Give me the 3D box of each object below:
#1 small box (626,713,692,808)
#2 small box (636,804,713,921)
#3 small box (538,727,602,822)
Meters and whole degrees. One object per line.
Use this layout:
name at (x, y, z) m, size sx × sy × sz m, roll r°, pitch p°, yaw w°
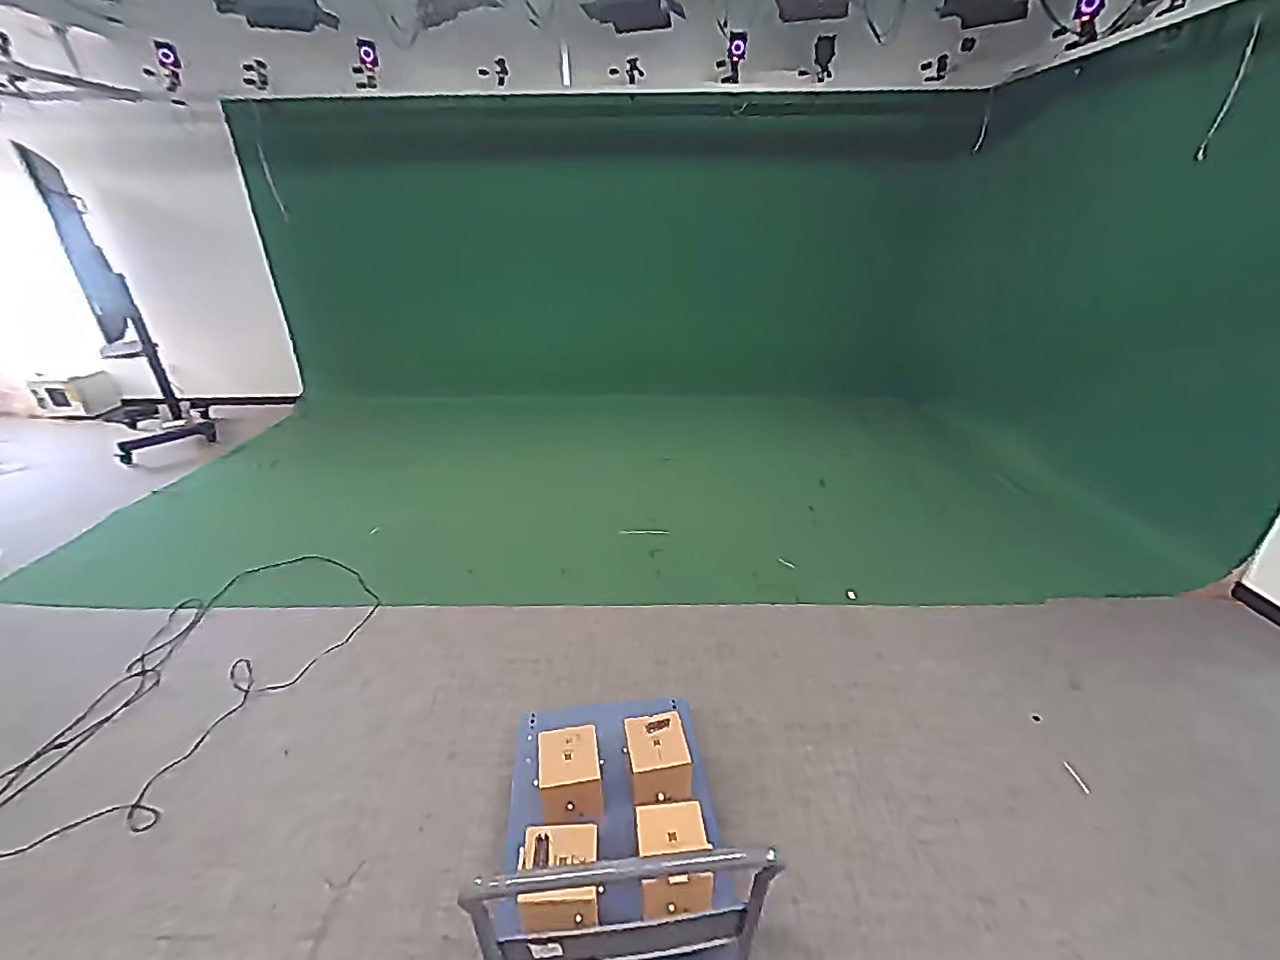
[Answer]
small box at (0.049, 0.819, 1.576) m, size 0.168 × 0.176 × 0.179 m, roll -6°, pitch 29°, yaw -8°
small box at (0.079, 0.943, 1.337) m, size 0.168 × 0.176 × 0.179 m, roll -2°, pitch 28°, yaw -5°
small box at (-0.199, 0.840, 1.537) m, size 0.168 × 0.176 × 0.179 m, roll -4°, pitch 27°, yaw -9°
